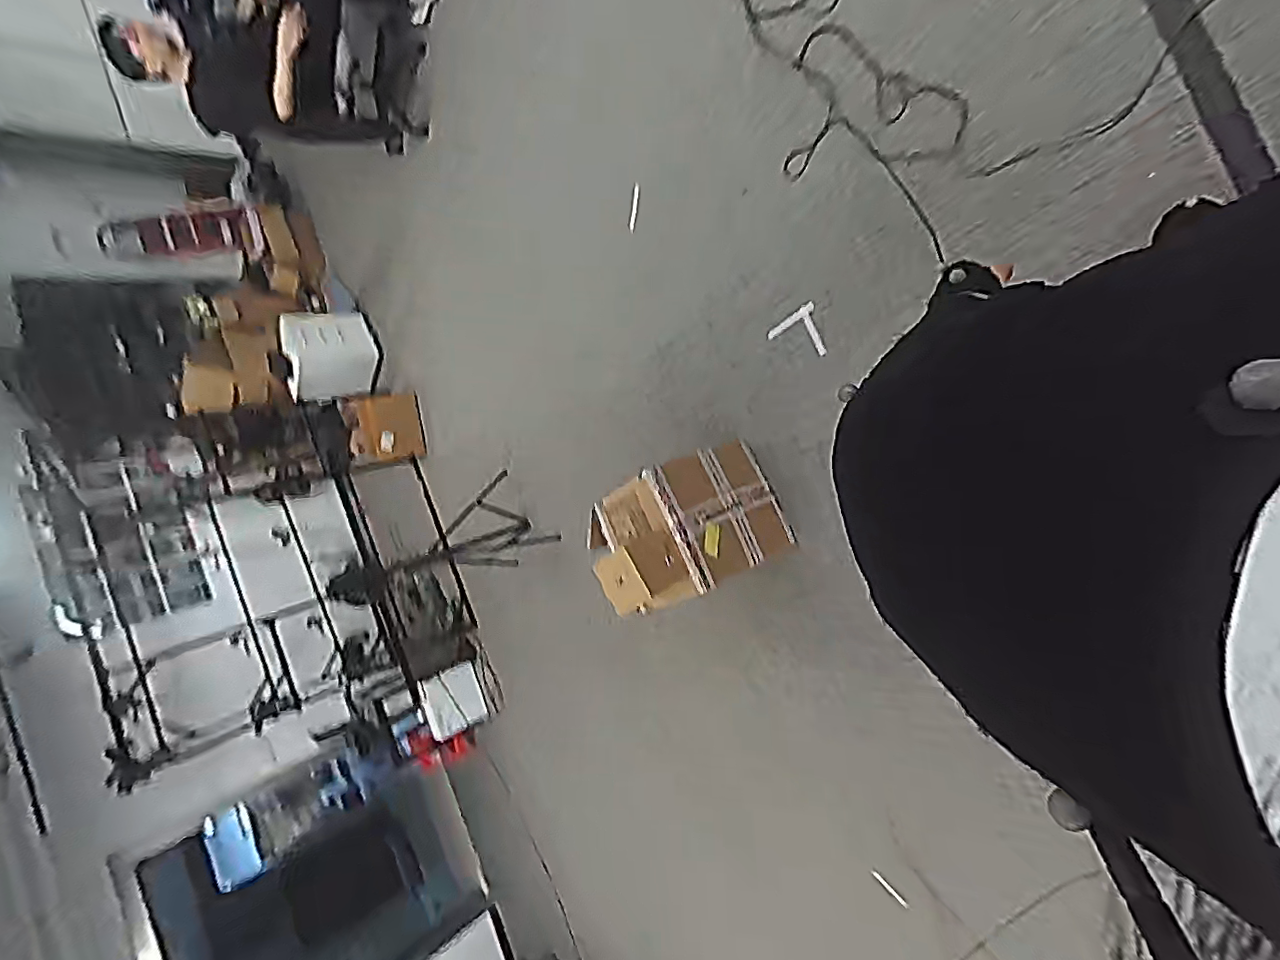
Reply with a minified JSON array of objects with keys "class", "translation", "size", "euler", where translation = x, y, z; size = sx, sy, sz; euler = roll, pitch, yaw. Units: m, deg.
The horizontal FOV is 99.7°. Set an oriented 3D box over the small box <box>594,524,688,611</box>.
[{"class":"small box","translation":[0.004,0.250,1.561],"size":[0.179,0.176,0.168],"euler":[-42,74,43]}]
